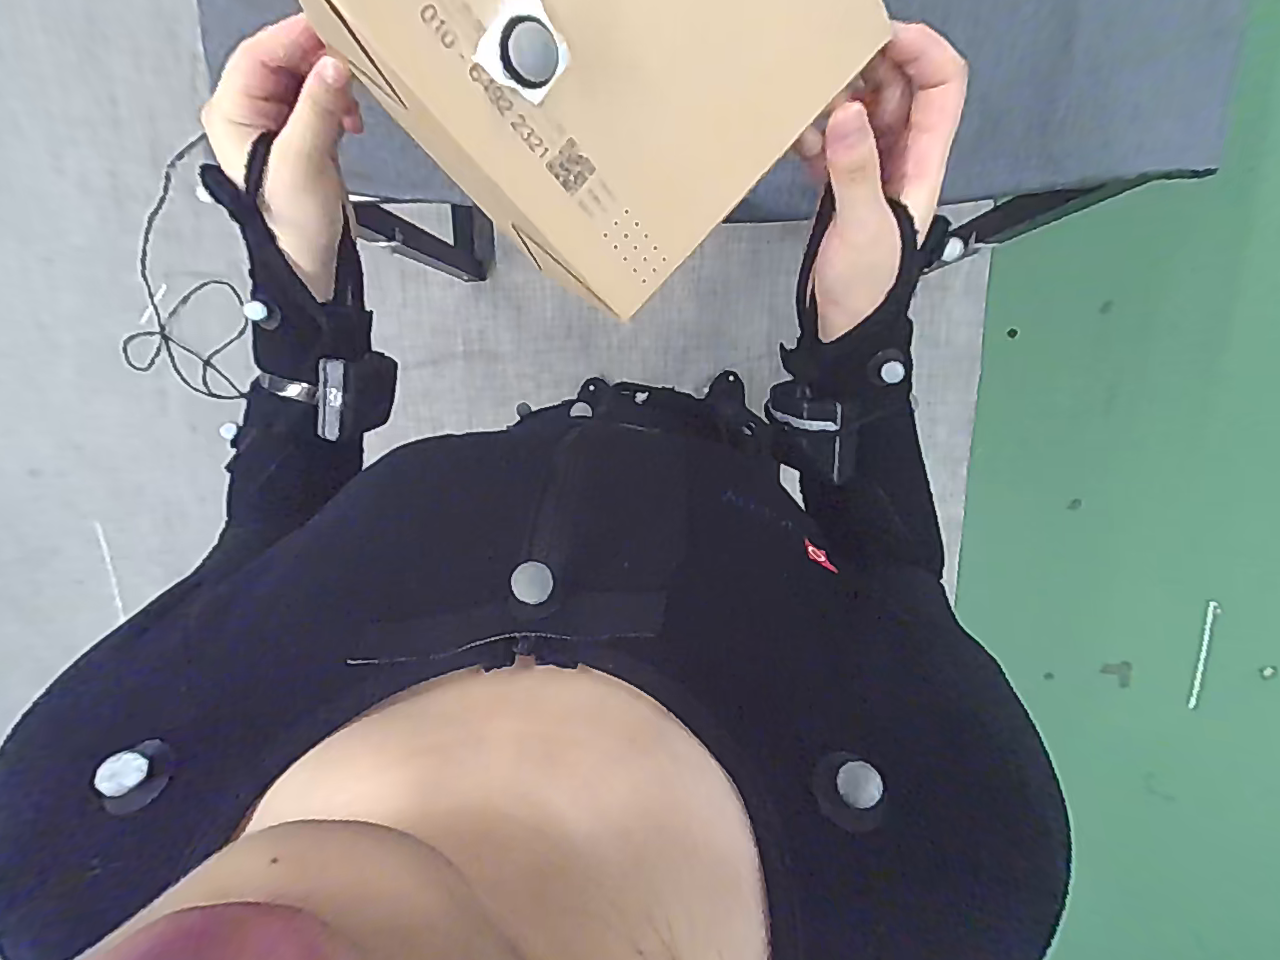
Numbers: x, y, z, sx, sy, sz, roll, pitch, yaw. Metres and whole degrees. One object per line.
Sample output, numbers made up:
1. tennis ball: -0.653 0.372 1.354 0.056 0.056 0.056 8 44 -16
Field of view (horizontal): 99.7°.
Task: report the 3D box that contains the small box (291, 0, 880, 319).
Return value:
1. small box: -0.034 -0.207 0.261 0.176 0.179 0.168 -46 126 7
